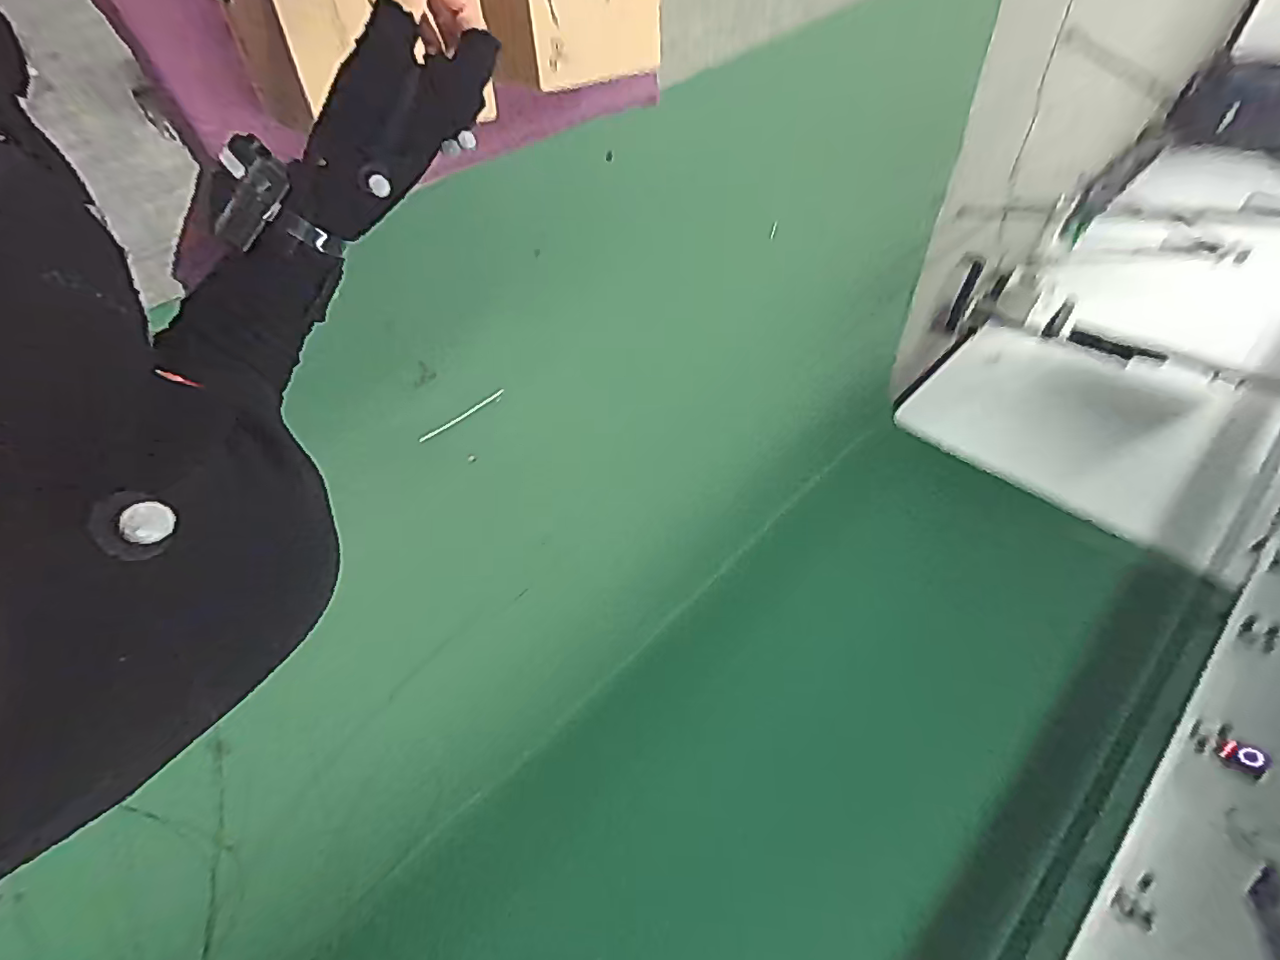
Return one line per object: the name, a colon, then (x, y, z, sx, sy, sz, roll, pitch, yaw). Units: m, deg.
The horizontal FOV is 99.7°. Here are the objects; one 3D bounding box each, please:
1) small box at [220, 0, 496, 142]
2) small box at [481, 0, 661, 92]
small box: (-0.261, -0.427, 0.491, 0.179, 0.176, 0.168, -32, 141, -30)
small box: (-0.095, -0.544, 0.587, 0.179, 0.176, 0.168, -34, 143, -28)
